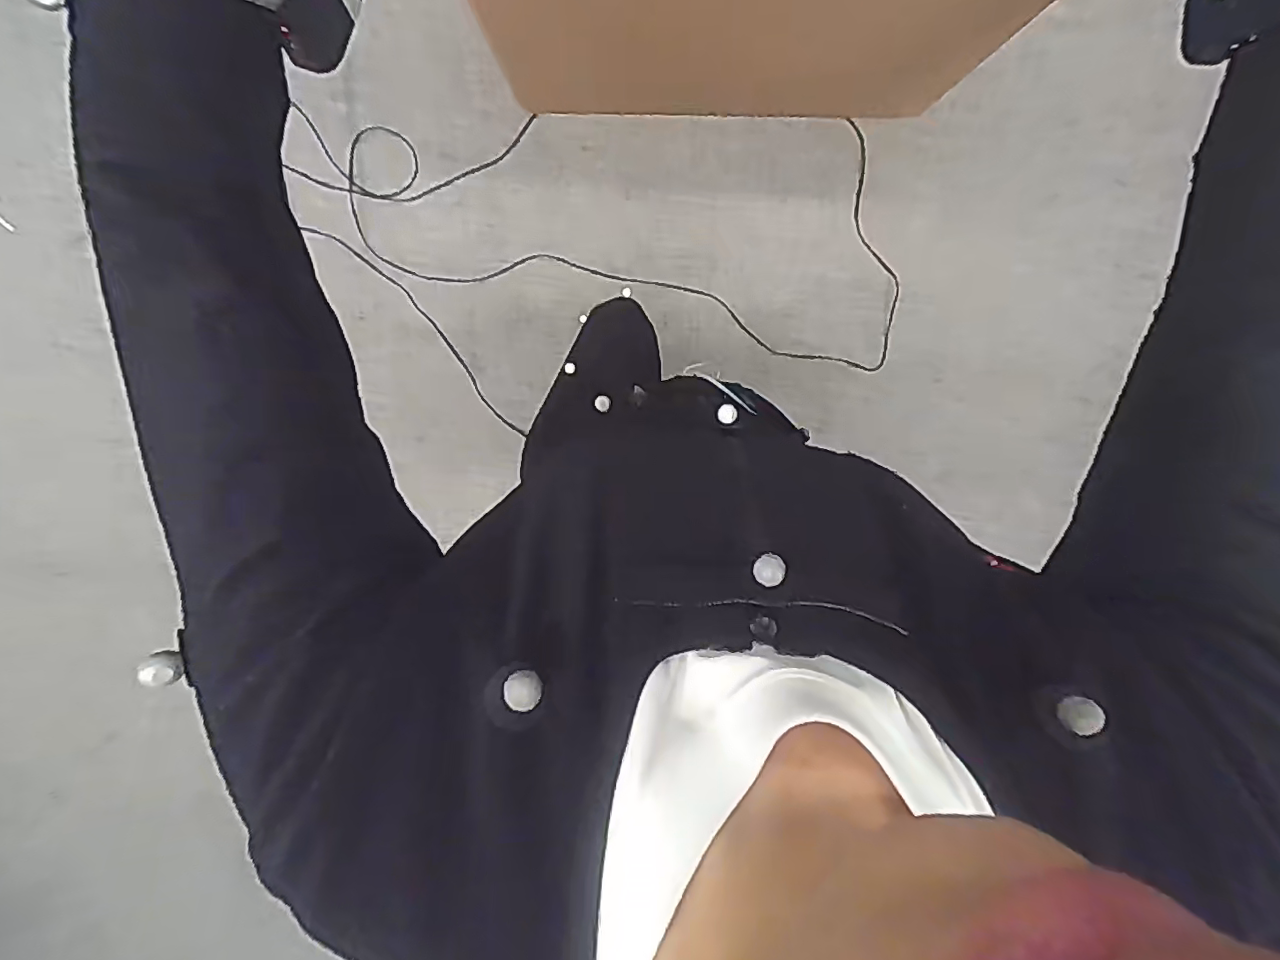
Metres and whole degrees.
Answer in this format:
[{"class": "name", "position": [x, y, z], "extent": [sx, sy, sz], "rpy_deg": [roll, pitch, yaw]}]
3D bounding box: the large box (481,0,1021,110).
[{"class": "large box", "position": [0.079, -0.492, 0.370], "extent": [0.408, 0.320, 0.320], "rpy_deg": [0, 103, -1]}]
